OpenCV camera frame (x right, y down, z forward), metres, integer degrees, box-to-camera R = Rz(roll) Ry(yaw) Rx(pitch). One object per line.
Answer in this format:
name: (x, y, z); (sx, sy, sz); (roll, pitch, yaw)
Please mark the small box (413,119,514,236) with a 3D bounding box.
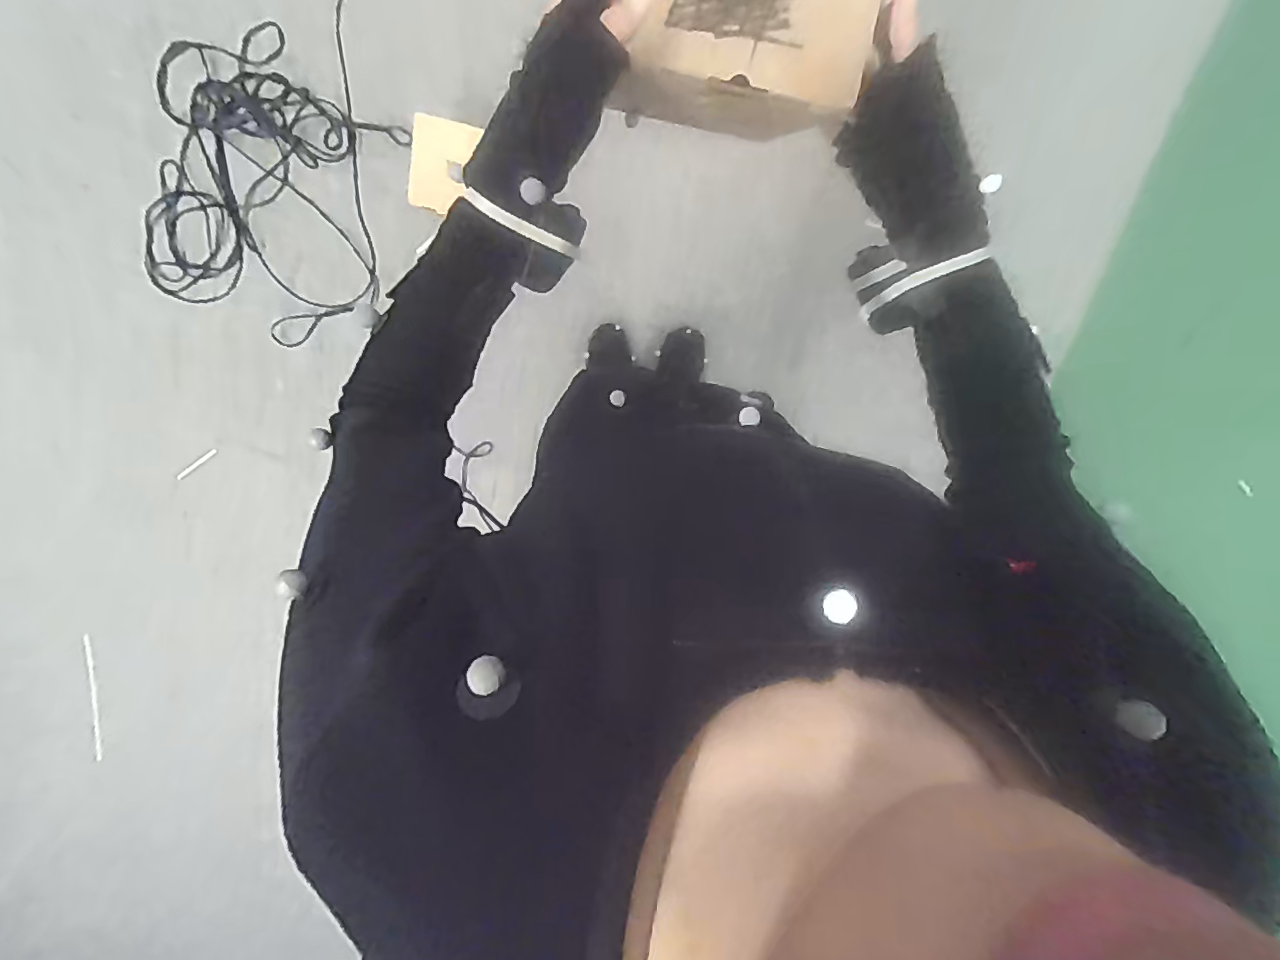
small box: (-0.386, -0.664, 1.207); (0.168, 0.176, 0.179); (11, 107, -4)
